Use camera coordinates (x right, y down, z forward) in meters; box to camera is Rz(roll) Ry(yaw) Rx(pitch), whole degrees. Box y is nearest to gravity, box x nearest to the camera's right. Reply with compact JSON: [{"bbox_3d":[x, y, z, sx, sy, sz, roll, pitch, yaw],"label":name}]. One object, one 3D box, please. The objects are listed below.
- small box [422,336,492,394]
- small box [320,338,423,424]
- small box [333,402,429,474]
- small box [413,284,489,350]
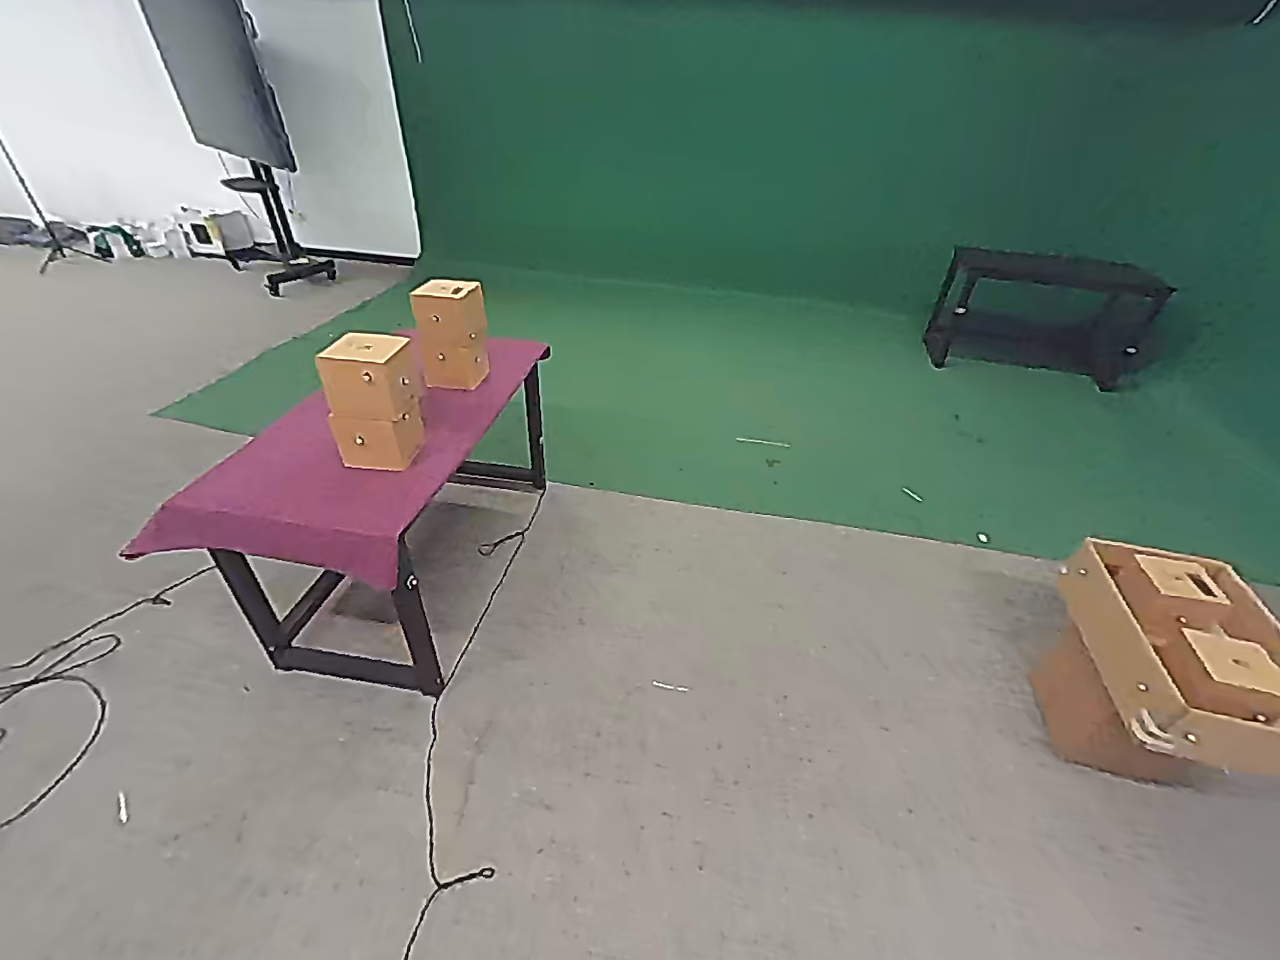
[{"bbox_3d":[-0.647,-0.422,1.939,0.179,0.176,0.168,5,37,6],"label":"small box"},{"bbox_3d":[-0.705,-0.264,1.444,0.179,0.176,0.168,5,36,3],"label":"small box"},{"bbox_3d":[-0.730,-0.132,1.543,0.179,0.176,0.168,4,37,2],"label":"small box"},{"bbox_3d":[-0.633,-0.552,1.839,0.179,0.176,0.168,7,37,9],"label":"small box"}]
